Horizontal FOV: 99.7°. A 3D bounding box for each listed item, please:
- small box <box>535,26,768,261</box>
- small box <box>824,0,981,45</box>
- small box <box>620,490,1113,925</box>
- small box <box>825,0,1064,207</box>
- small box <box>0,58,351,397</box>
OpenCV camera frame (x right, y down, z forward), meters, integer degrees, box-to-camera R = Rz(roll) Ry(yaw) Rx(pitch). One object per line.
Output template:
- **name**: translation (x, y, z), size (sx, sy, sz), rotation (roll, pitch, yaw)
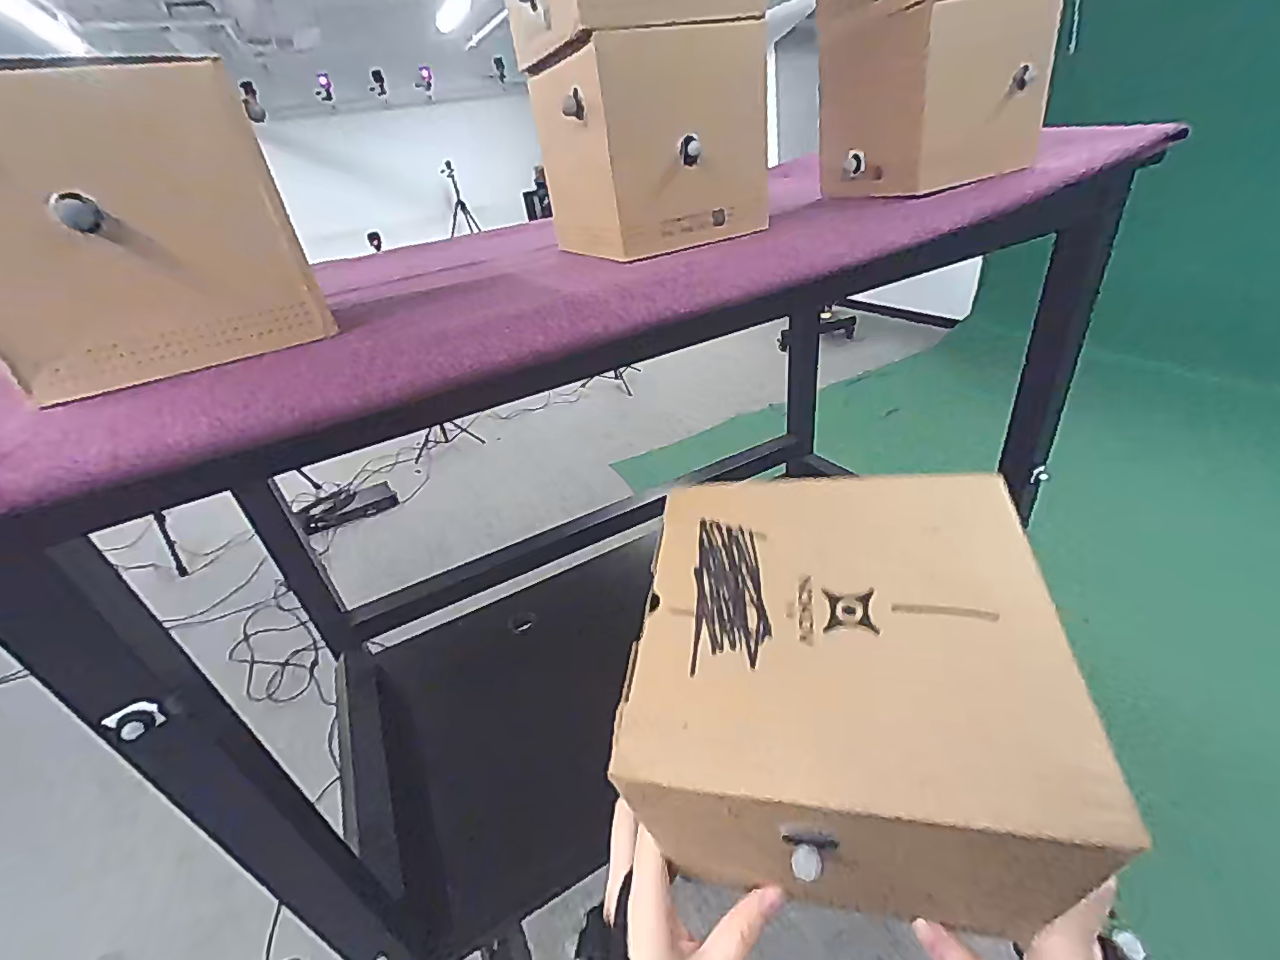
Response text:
- **small box**: translation (0.014, -0.327, 0.546), size (0.168, 0.176, 0.179), rotation (-20, 33, -20)
- **small box**: translation (0.305, -0.570, 0.556), size (0.179, 0.176, 0.168), rotation (-18, 30, -12)
- **small box**: translation (0.107, 0.123, 0.307), size (0.179, 0.176, 0.168), rotation (-1, 43, 17)
- **small box**: translation (0.337, -0.430, 0.633), size (0.179, 0.176, 0.168), rotation (-21, 31, -14)
- **small box**: translation (-0.340, -0.175, 0.386), size (0.179, 0.176, 0.168), rotation (-25, 36, -24)
